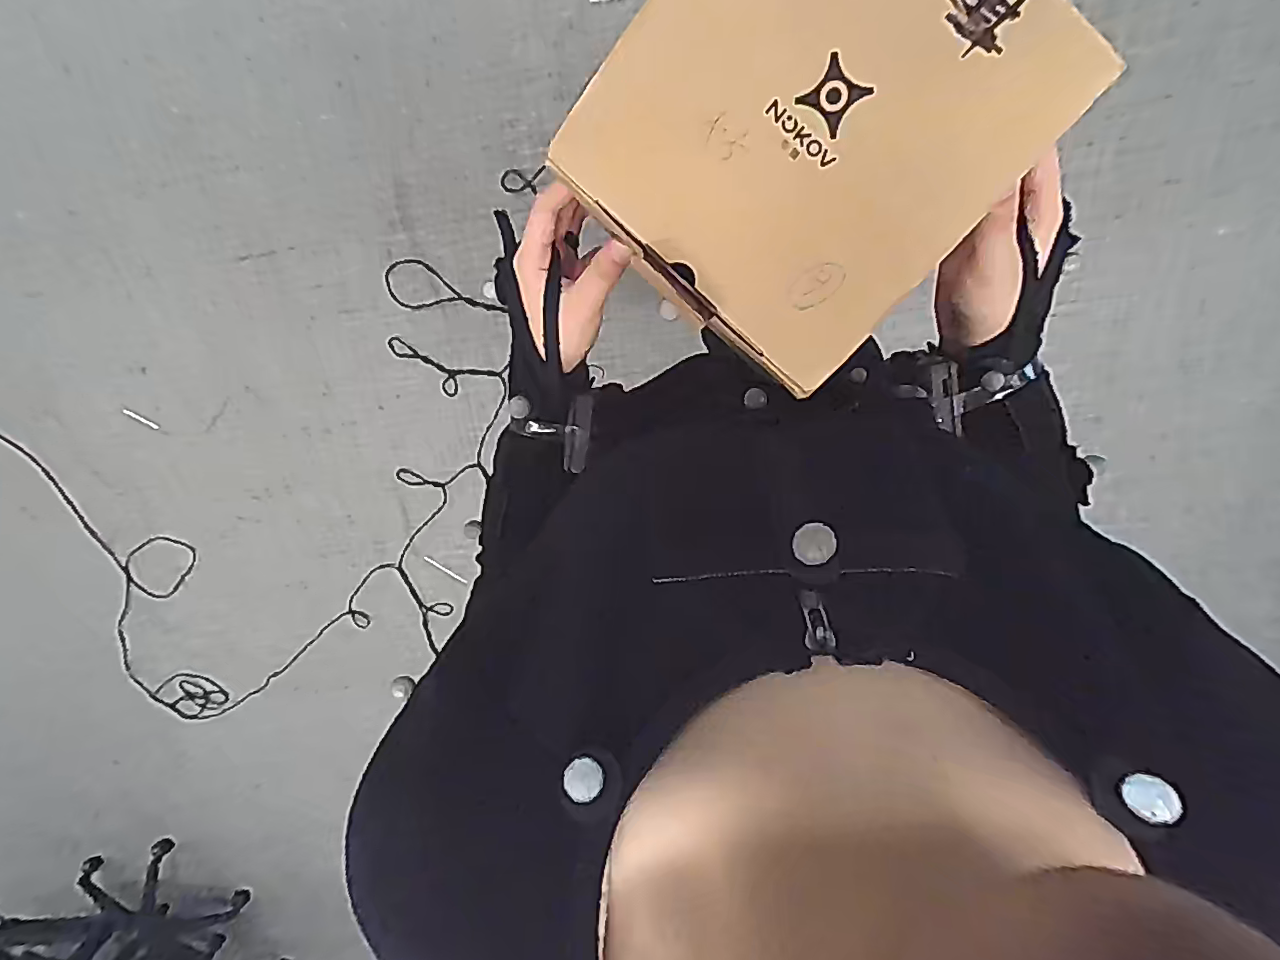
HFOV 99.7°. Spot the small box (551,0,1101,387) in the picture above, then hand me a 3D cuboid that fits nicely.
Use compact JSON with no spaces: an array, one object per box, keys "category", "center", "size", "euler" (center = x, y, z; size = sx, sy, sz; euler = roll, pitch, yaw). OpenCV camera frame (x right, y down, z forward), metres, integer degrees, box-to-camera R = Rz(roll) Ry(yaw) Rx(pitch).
[{"category":"small box","center":[0.083,-0.177,0.311],"size":[0.168,0.176,0.179],"euler":[41,106,-5]}]
